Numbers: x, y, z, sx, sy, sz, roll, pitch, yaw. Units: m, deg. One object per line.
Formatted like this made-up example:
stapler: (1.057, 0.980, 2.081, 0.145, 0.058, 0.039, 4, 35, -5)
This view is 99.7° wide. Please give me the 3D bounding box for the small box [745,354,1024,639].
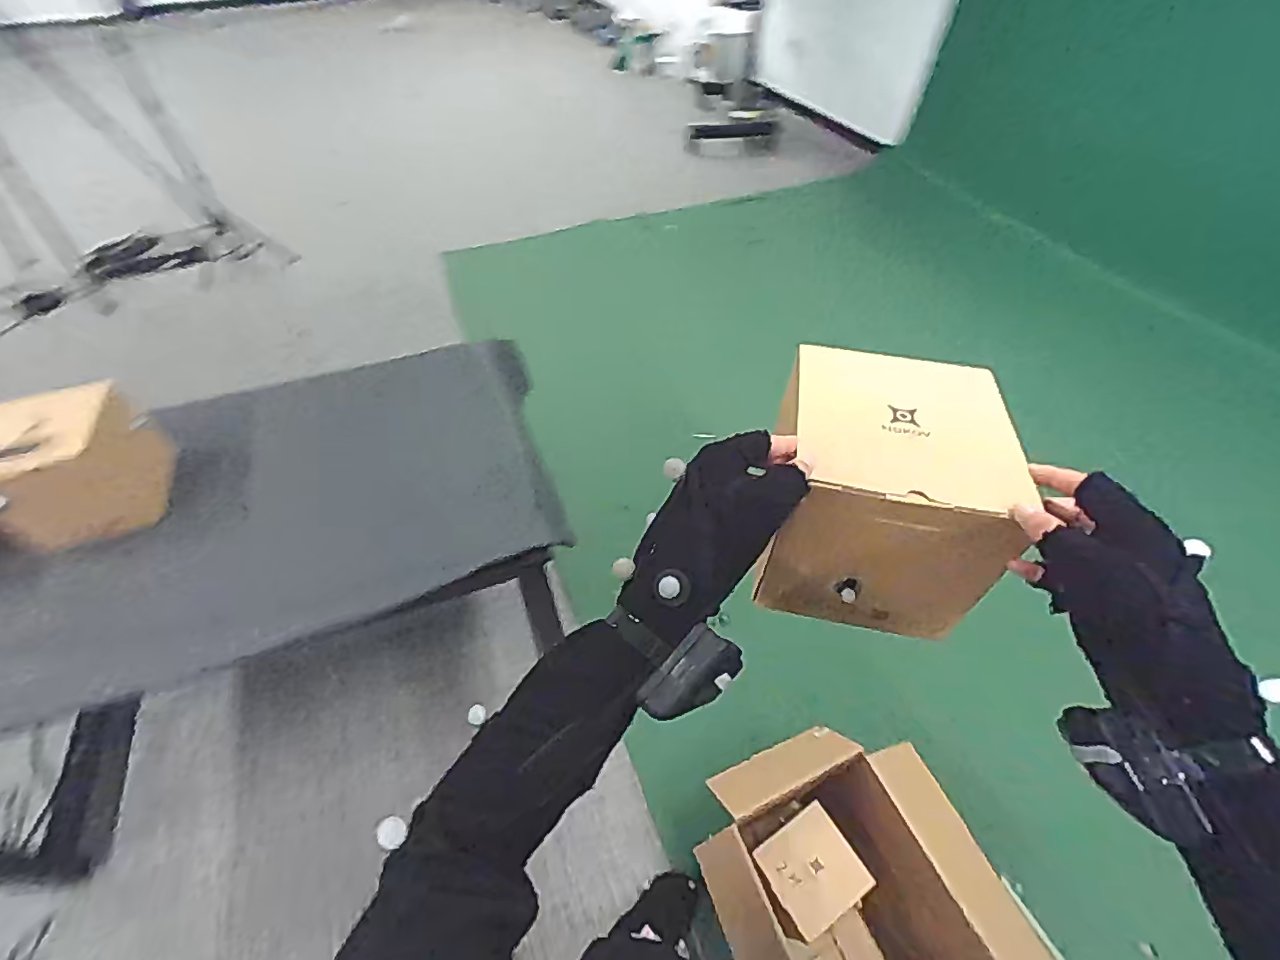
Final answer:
small box: (0.192, 0.014, 0.486, 0.168, 0.176, 0.179, 9, 46, 6)
